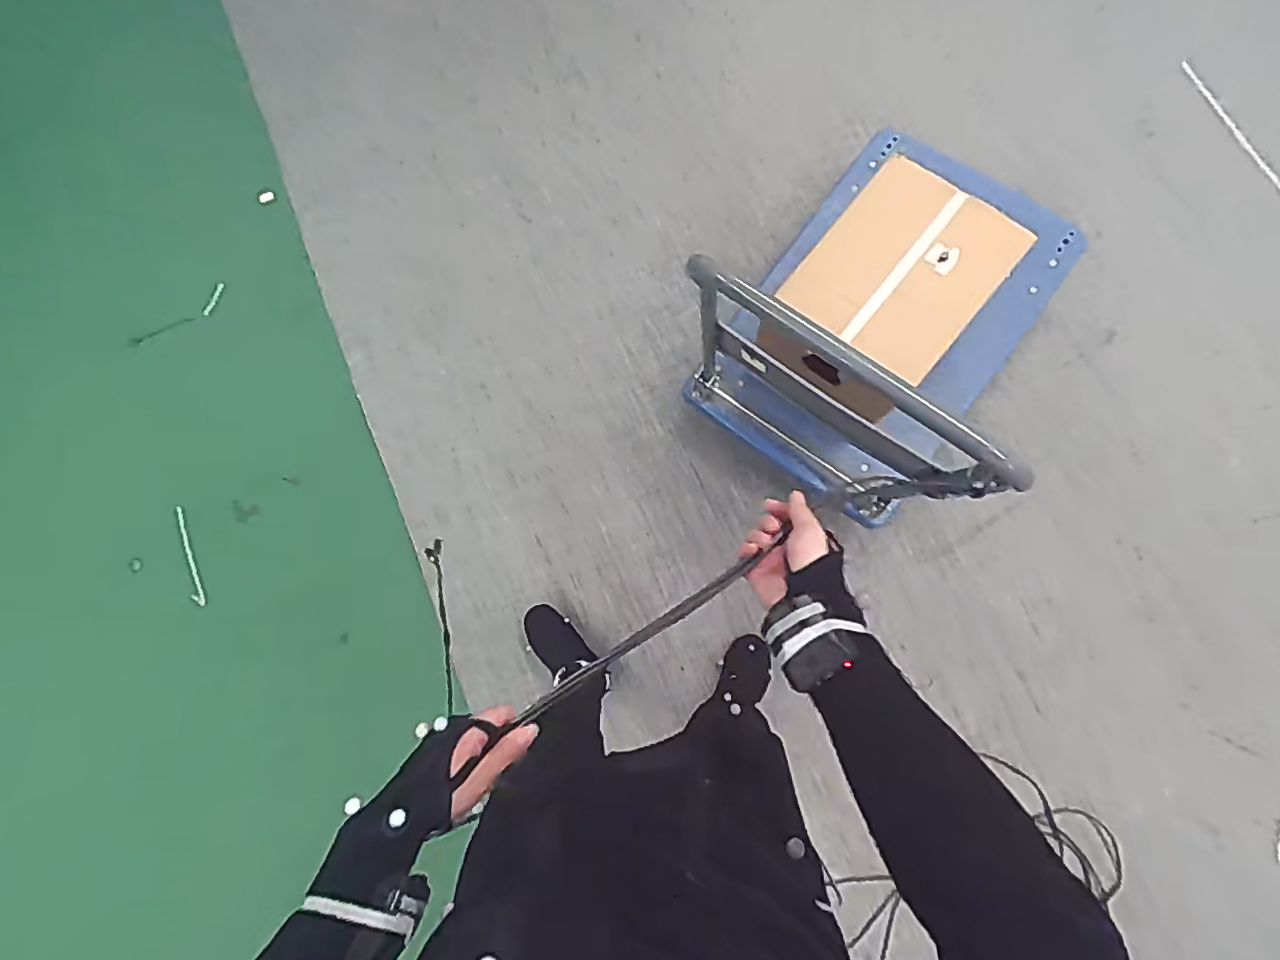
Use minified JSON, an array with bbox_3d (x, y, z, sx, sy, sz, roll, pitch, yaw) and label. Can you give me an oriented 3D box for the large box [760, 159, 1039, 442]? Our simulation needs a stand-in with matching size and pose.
[{"bbox_3d":[0.506,-0.351,1.147,0.320,0.320,0.408,40,87,10],"label":"large box"}]
